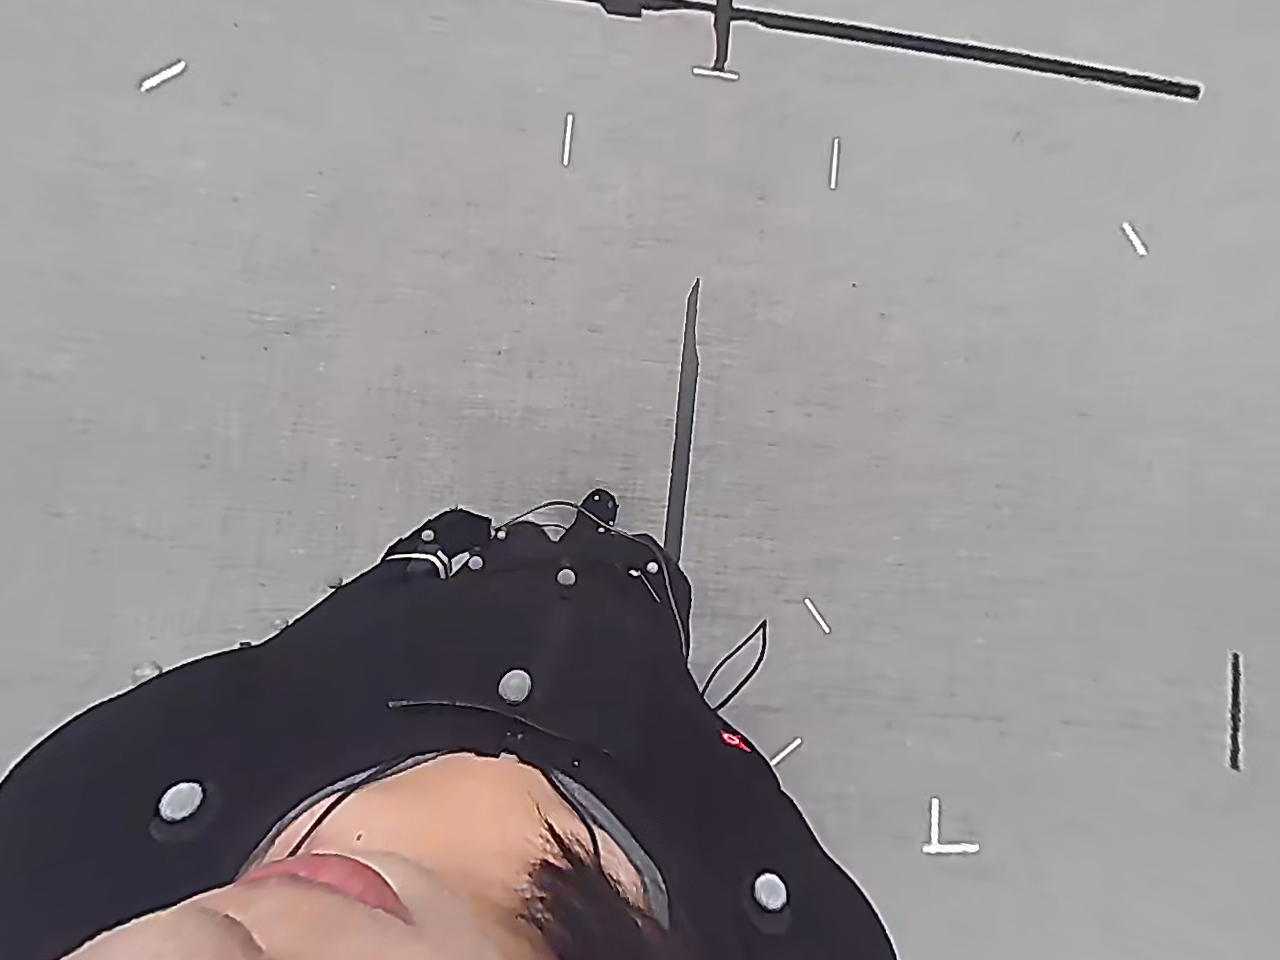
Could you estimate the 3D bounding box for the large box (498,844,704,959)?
[{"bbox_3d":[-0.071,1.060,1.163,0.408,0.320,0.320,-6,88,-5],"label":"large box"}]
